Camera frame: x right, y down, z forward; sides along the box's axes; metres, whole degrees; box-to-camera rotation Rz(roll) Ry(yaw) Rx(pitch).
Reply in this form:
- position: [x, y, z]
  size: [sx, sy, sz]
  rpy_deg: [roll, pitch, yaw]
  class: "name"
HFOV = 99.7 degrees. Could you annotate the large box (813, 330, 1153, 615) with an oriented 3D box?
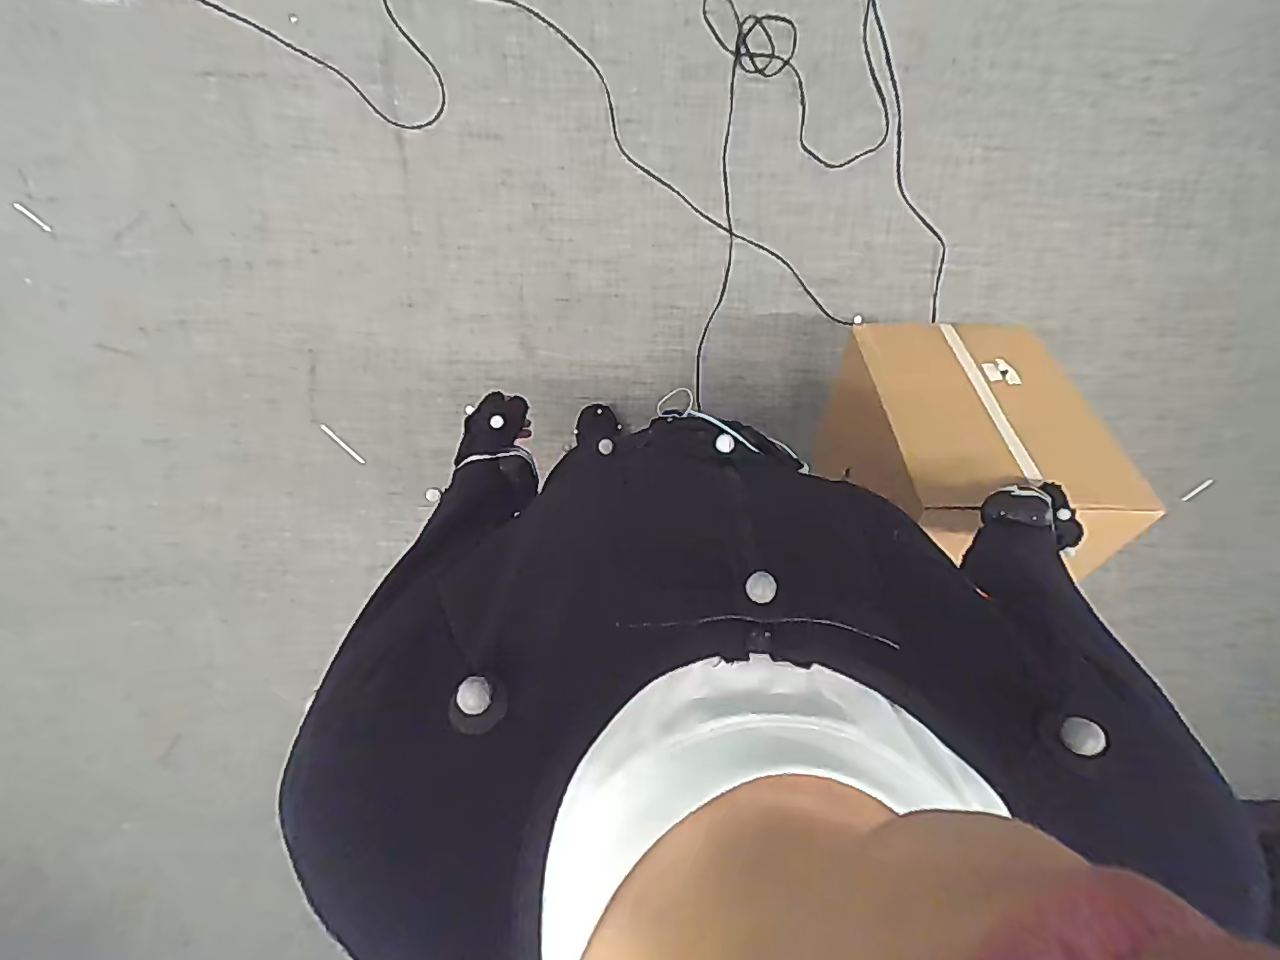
- position: [0.523, -0.014, 0.945]
  size: [0.320, 0.408, 0.320]
  rpy_deg: [1, 139, 0]
  class: "large box"
